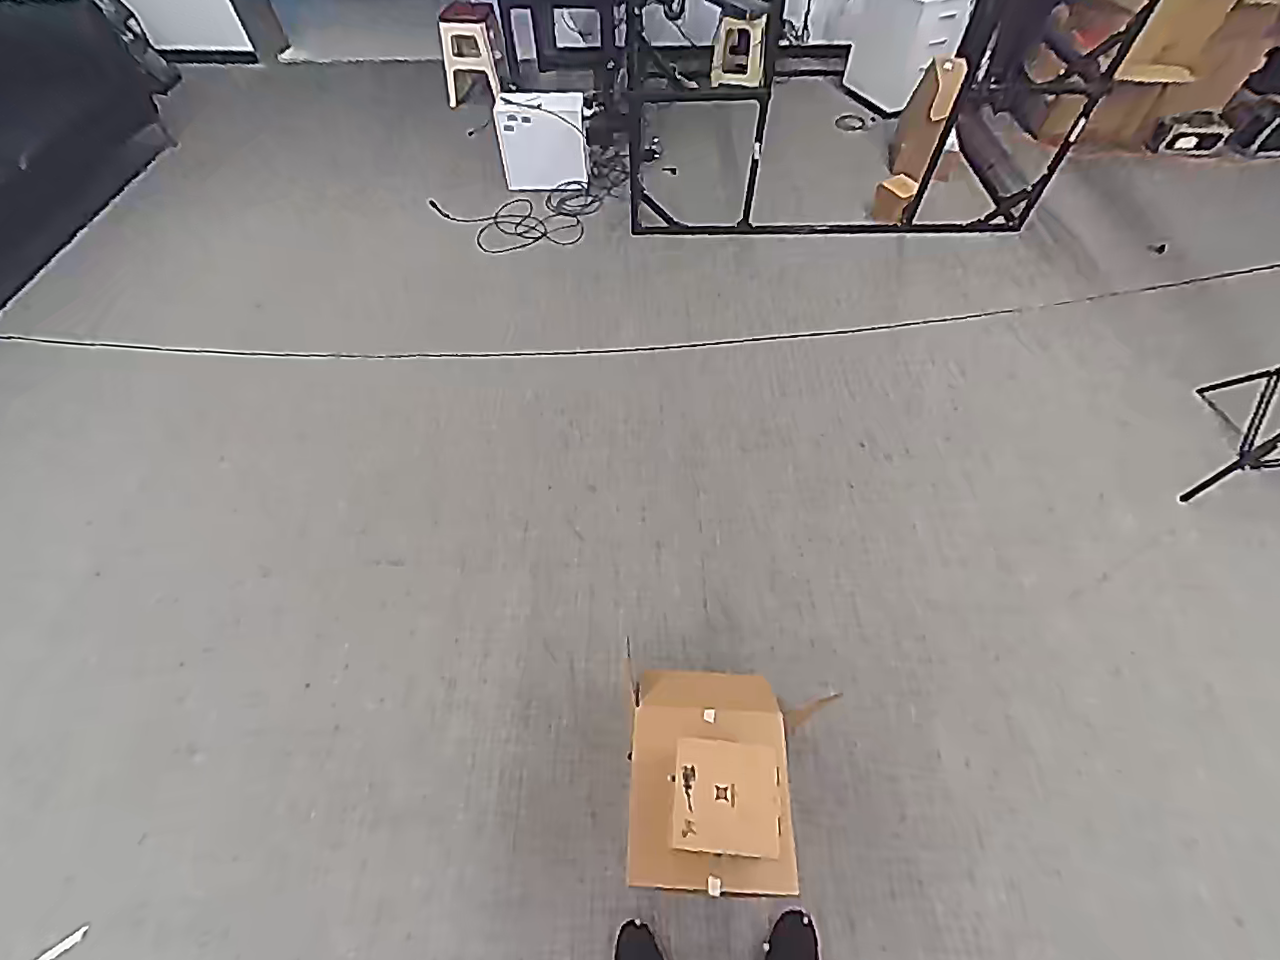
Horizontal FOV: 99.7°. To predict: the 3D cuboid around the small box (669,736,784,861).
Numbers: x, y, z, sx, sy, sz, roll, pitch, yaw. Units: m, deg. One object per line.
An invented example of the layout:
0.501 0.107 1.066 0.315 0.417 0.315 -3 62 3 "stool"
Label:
0.148 0.564 0.961 0.179 0.176 0.168 5 56 3 "small box"
